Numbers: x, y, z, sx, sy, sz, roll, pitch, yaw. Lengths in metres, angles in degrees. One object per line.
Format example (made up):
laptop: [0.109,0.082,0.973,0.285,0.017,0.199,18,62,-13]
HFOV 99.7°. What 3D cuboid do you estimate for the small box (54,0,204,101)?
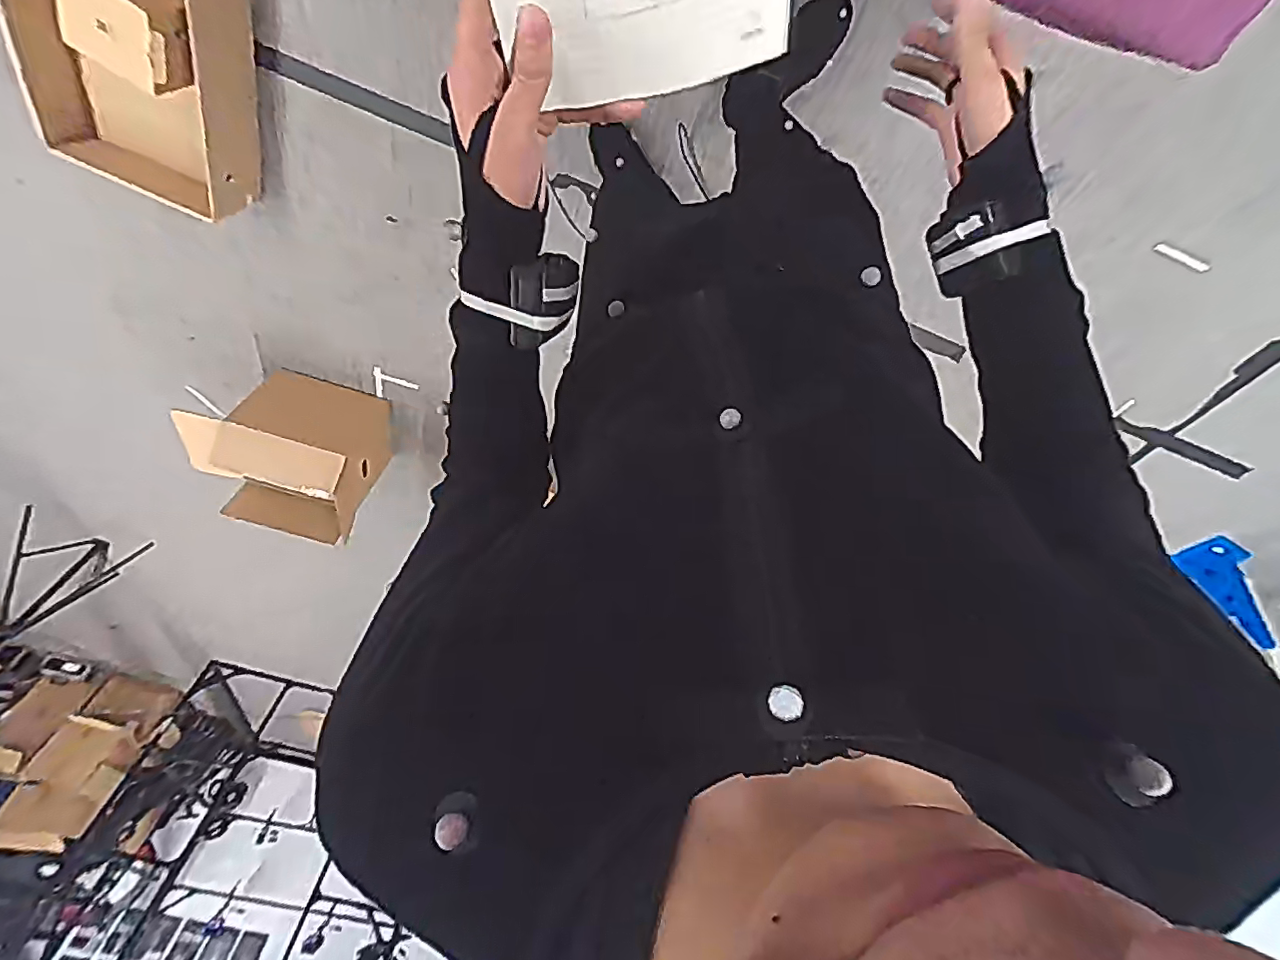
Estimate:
small box: [-1.063,-0.954,1.139,0.179,0.176,0.168,29,133,-18]
